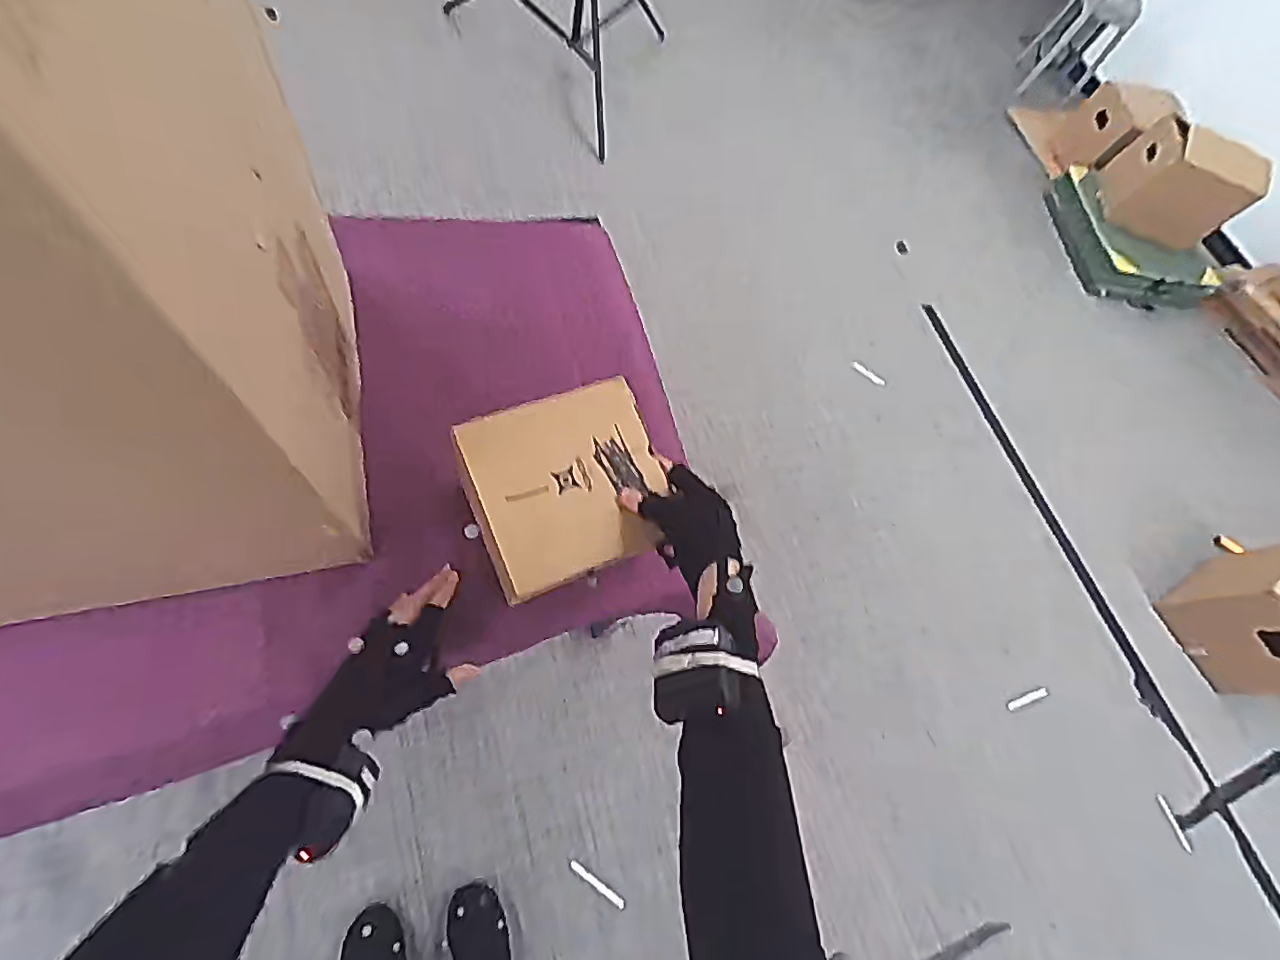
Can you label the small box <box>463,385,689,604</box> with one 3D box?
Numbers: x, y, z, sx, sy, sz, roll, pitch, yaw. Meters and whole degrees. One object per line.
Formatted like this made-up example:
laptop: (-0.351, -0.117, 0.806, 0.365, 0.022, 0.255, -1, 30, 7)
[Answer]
small box: (-0.078, 0.023, 0.580, 0.179, 0.176, 0.168, -20, 80, -19)
